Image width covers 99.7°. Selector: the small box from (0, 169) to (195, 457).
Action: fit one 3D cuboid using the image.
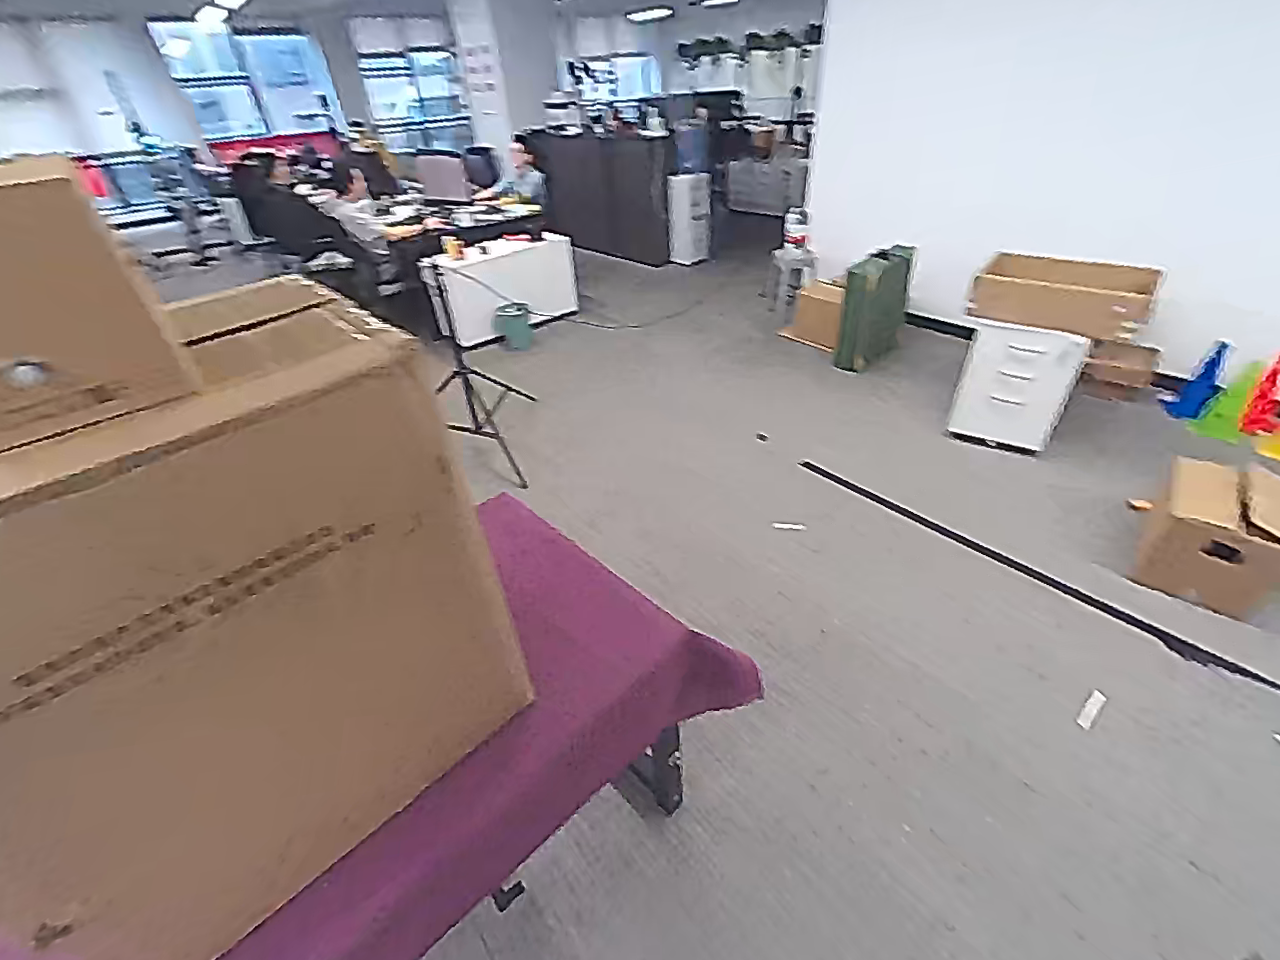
[{"bbox_3d":[-0.503,-0.137,0.431,0.168,0.176,0.179,-30,46,-30],"label":"small box"}]
